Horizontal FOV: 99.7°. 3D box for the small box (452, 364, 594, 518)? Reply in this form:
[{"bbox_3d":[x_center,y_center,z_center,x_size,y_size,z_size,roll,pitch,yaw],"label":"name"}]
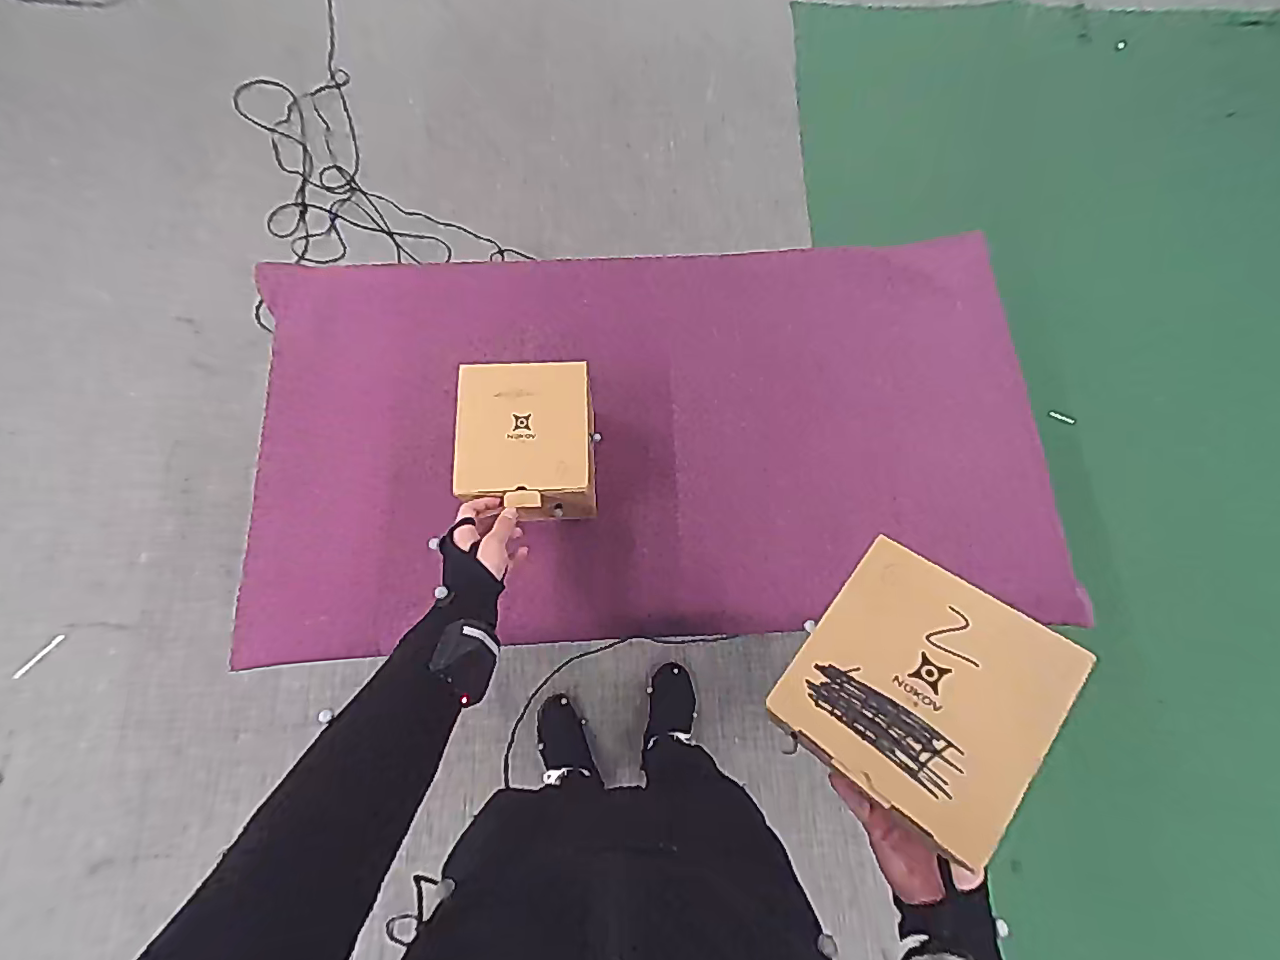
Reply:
[{"bbox_3d":[-0.152,-0.045,0.757,0.168,0.176,0.179,-1,73,-2],"label":"small box"}]
